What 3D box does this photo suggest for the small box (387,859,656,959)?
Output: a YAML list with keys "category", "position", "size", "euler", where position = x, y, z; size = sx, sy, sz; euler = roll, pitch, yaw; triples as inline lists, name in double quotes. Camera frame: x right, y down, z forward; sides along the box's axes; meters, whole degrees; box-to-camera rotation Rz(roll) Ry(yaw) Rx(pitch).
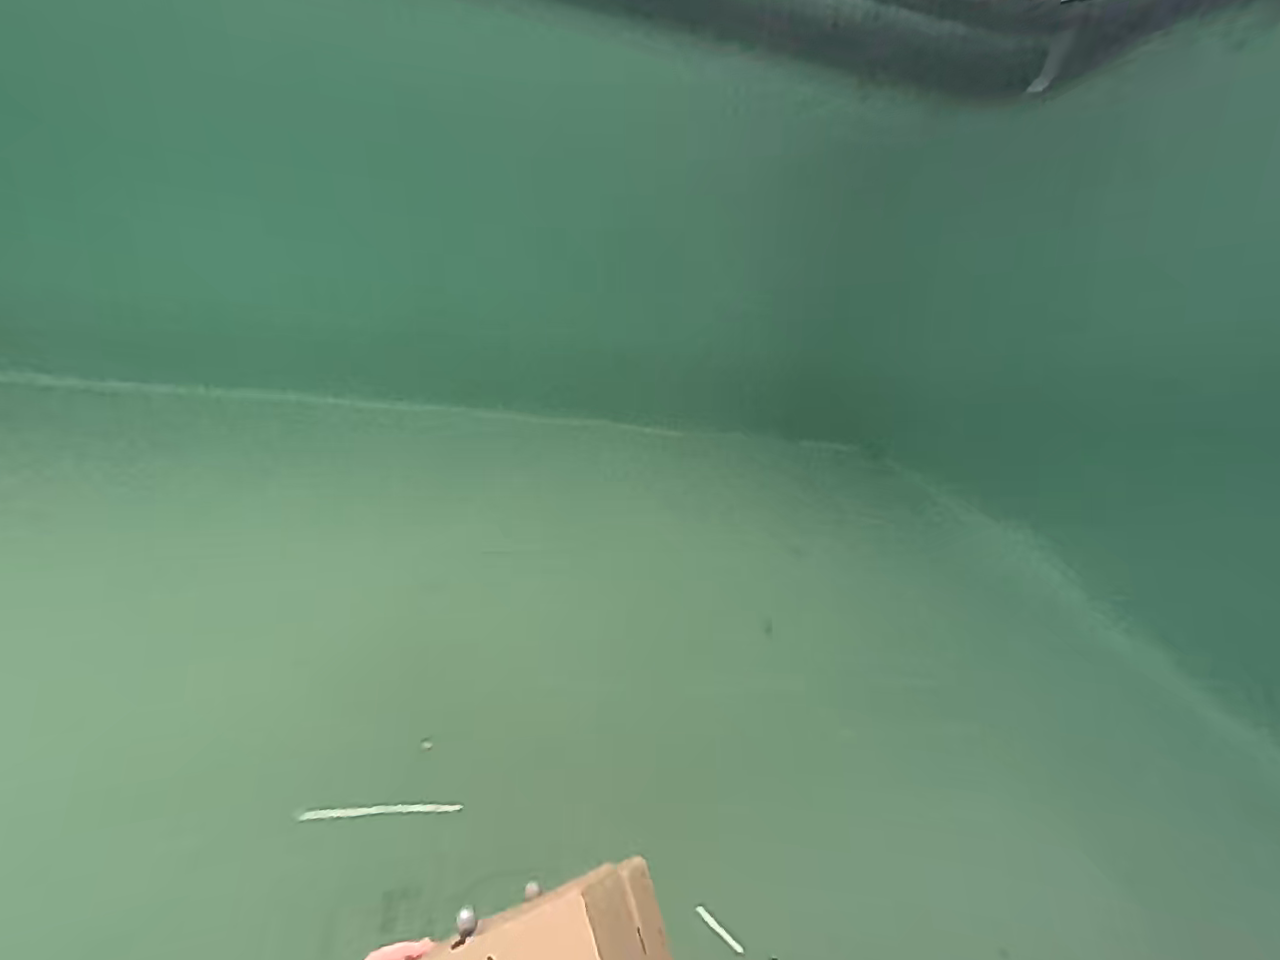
- category: "small box"
  position: [-0.073, 0.422, 0.418]
  size: [0.179, 0.176, 0.168]
  euler: [-19, 59, -8]
